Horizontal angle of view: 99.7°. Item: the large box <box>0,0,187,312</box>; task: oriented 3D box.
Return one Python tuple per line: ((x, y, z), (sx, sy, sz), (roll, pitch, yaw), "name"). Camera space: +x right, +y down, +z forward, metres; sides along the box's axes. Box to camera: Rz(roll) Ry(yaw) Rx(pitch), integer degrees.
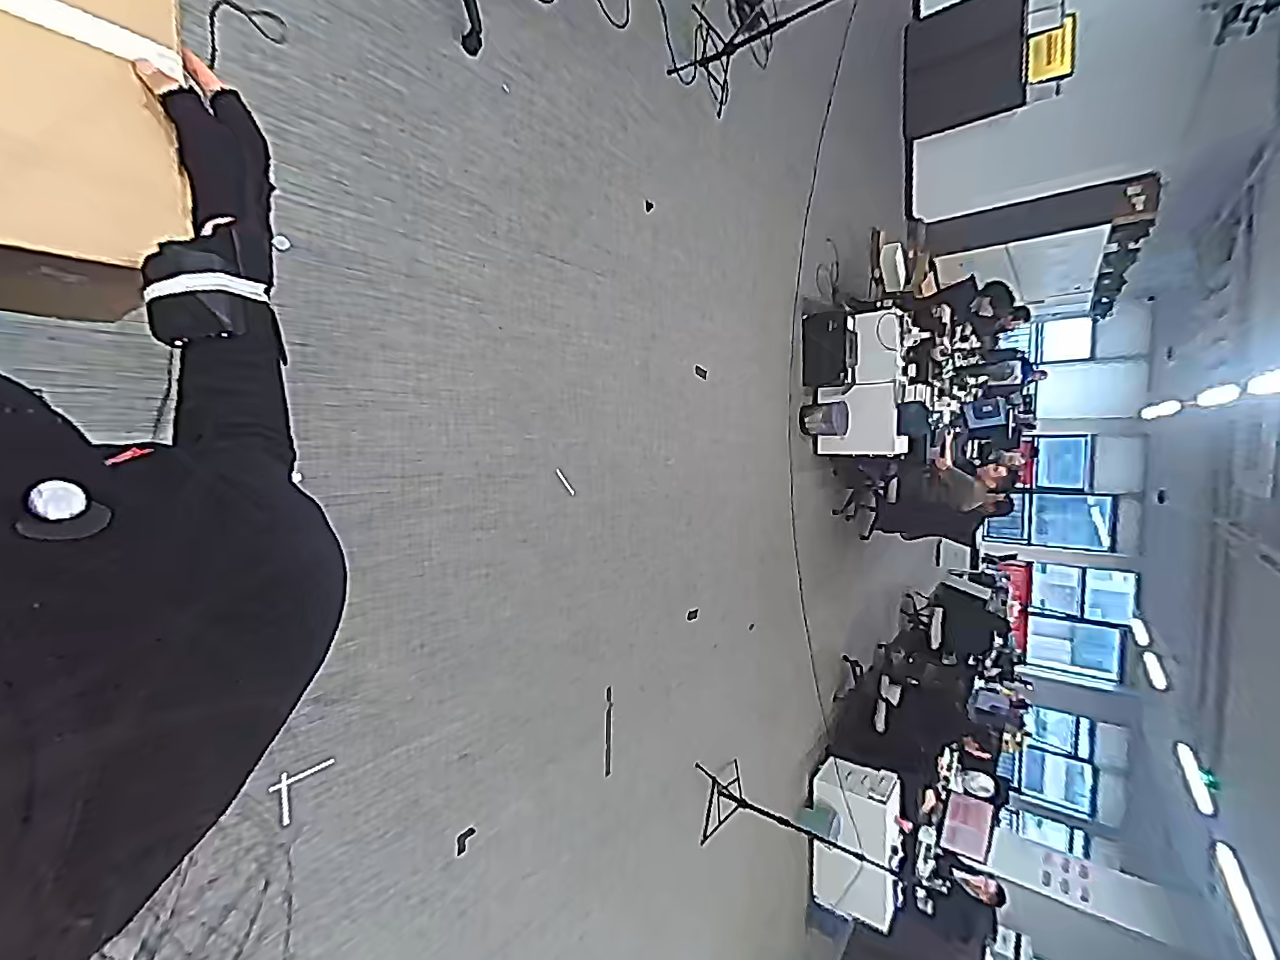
((-0.609, -0.315, 0.355), (0.408, 0.320, 0.320), (-7, 100, -54), "large box")
